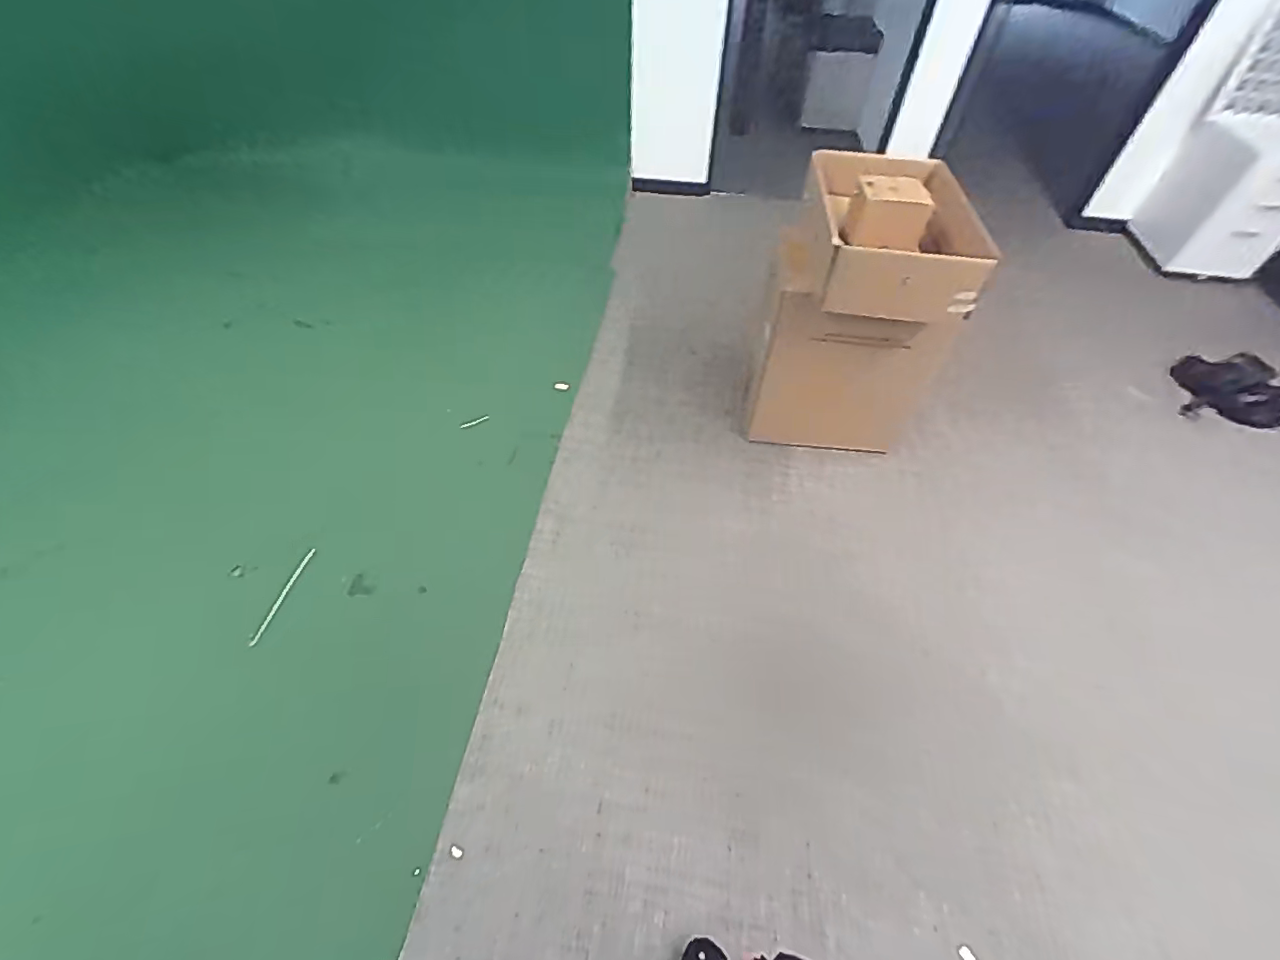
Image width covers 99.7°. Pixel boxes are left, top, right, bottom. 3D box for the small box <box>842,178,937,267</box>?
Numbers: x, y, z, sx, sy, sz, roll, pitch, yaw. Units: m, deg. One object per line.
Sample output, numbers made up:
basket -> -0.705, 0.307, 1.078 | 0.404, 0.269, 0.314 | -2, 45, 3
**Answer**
small box -> 0.693, -0.721, 1.523 | 0.179, 0.176, 0.168 | 6, 49, 1
